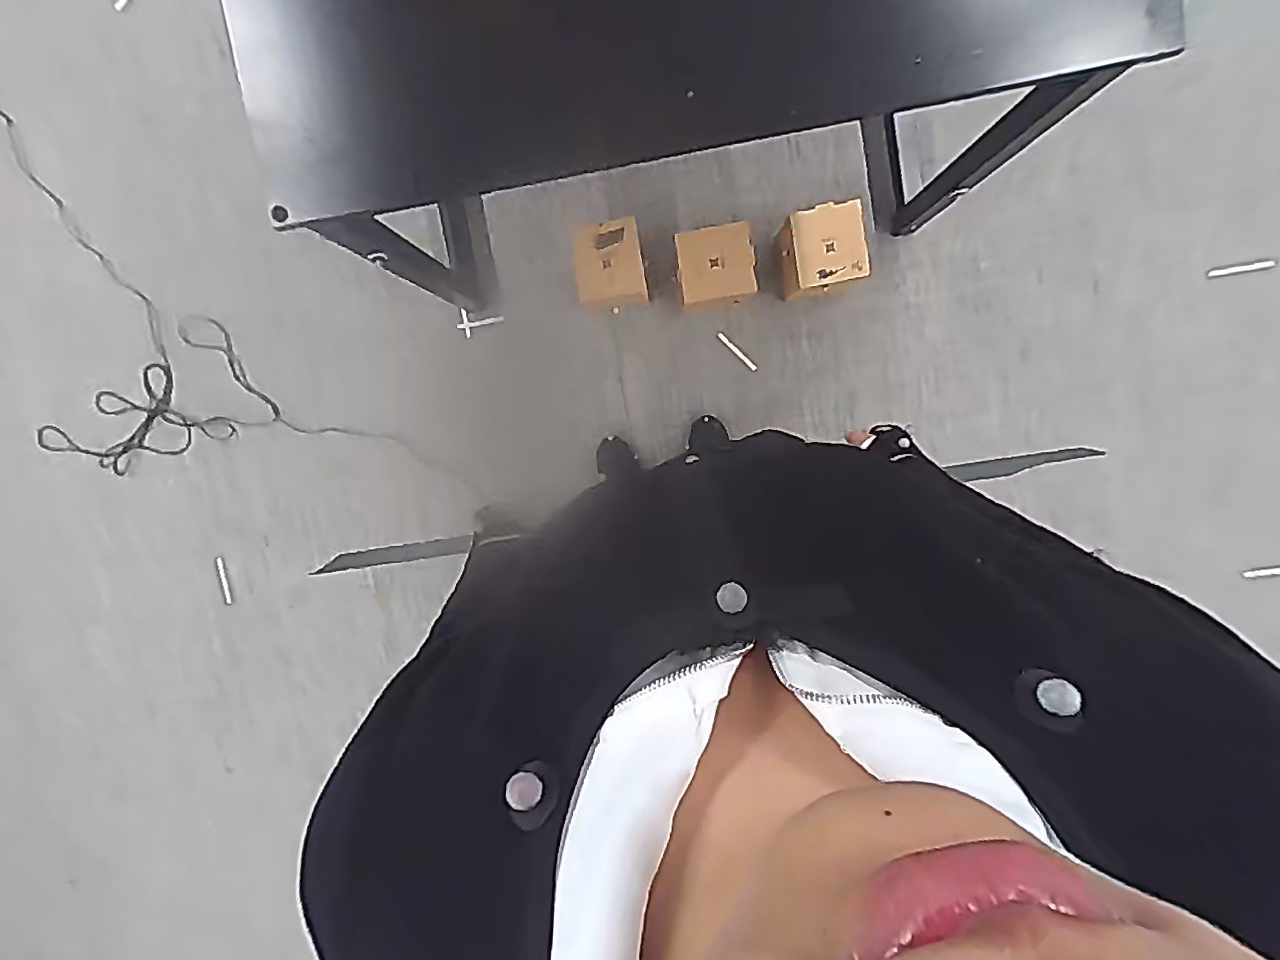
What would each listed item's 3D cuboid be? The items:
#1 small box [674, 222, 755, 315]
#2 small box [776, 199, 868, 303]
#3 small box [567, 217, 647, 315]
[{"bbox_3d":[0.180,-0.522,1.354,0.179,0.176,0.168,-8,96,5],"label":"small box"},{"bbox_3d":[0.440,-0.556,1.334,0.168,0.176,0.179,-10,95,5],"label":"small box"},{"bbox_3d":[-0.077,-0.532,1.364,0.168,0.176,0.179,-10,97,4],"label":"small box"}]
